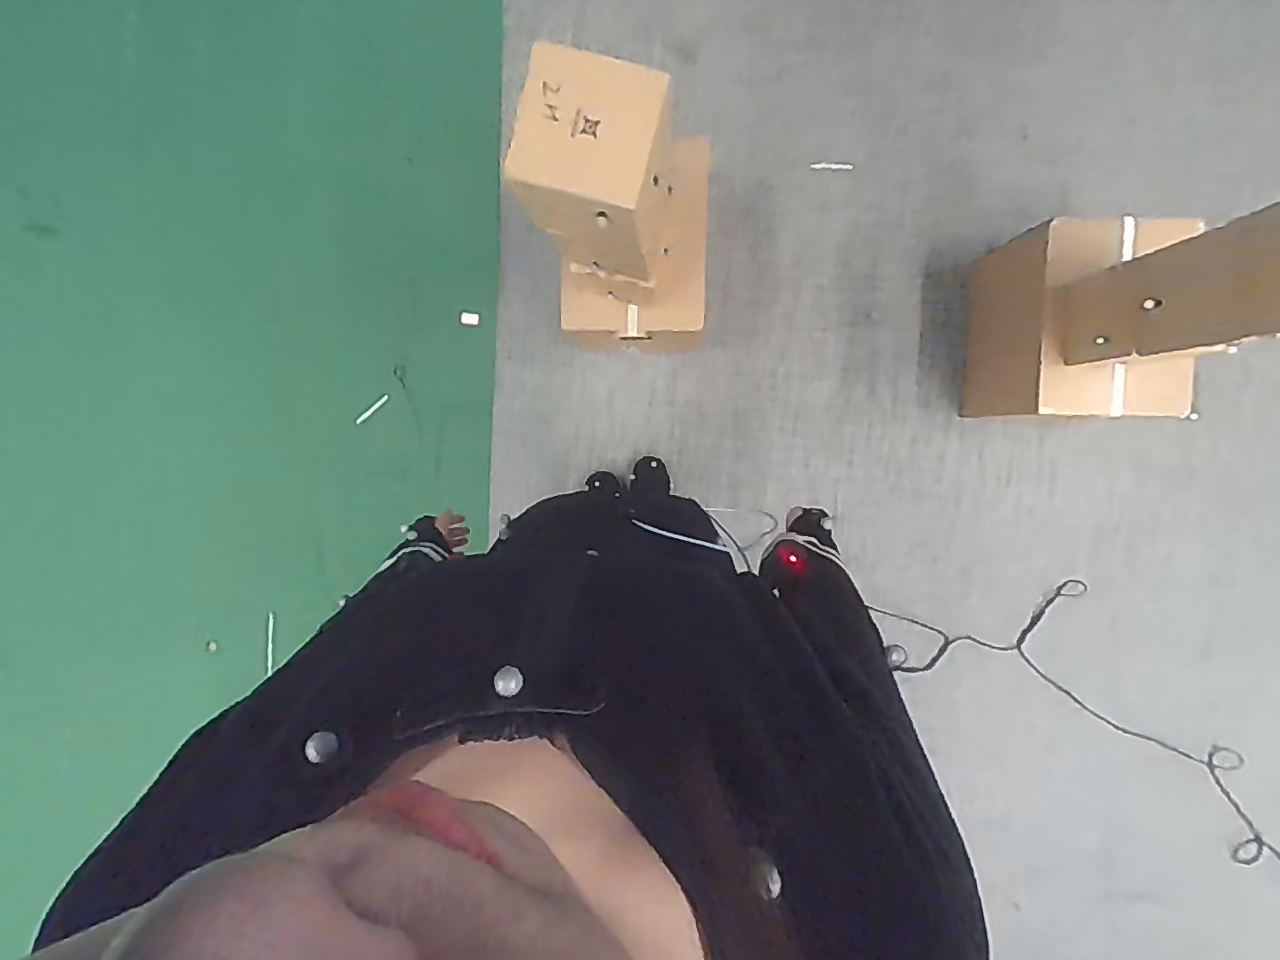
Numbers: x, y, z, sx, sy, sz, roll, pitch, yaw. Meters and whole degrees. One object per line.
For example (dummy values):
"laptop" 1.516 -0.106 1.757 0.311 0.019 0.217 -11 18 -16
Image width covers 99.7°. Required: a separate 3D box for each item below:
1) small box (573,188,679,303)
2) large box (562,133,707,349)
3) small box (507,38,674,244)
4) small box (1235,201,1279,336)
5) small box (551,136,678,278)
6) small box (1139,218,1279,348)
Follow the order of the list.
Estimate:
"small box" -0.024 -0.470 1.069 0.168 0.176 0.179 12 96 2
"large box" -0.003 -0.543 1.305 0.320 0.320 0.408 1 94 3
"small box" -0.057 -0.446 0.744 0.179 0.176 0.168 16 96 3
"small box" 0.943 -0.299 0.704 0.168 0.176 0.179 -8 95 5
"small box" -0.038 -0.465 0.906 0.168 0.176 0.179 16 97 3
"small box" 0.955 -0.313 0.868 0.168 0.176 0.179 -7 96 5
